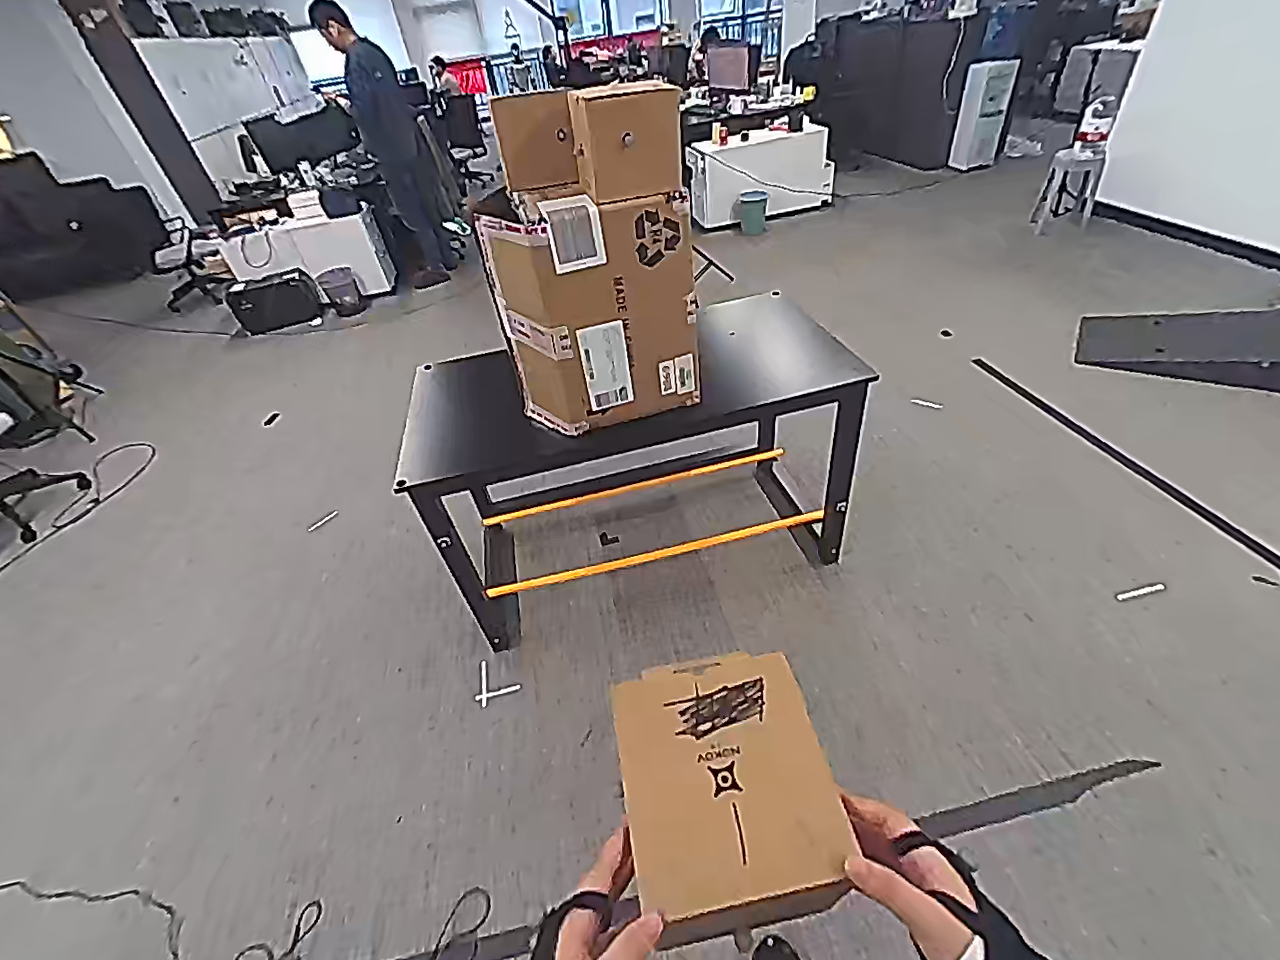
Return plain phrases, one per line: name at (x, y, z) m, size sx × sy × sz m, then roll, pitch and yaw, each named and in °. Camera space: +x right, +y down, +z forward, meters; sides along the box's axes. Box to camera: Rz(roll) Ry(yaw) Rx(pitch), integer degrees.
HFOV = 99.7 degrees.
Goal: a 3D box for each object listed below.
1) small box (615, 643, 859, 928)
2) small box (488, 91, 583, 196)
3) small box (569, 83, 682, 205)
small box at (0.072, 0.284, 0.506) m, size 0.168 × 0.176 × 0.179 m, roll -10°, pitch 45°, yaw -4°
small box at (-0.223, -0.742, 1.191) m, size 0.179 × 0.176 × 0.168 m, roll -15°, pitch 38°, yaw -8°
small box at (-0.027, -0.654, 1.056) m, size 0.179 × 0.176 × 0.168 m, roll -15°, pitch 43°, yaw -8°
